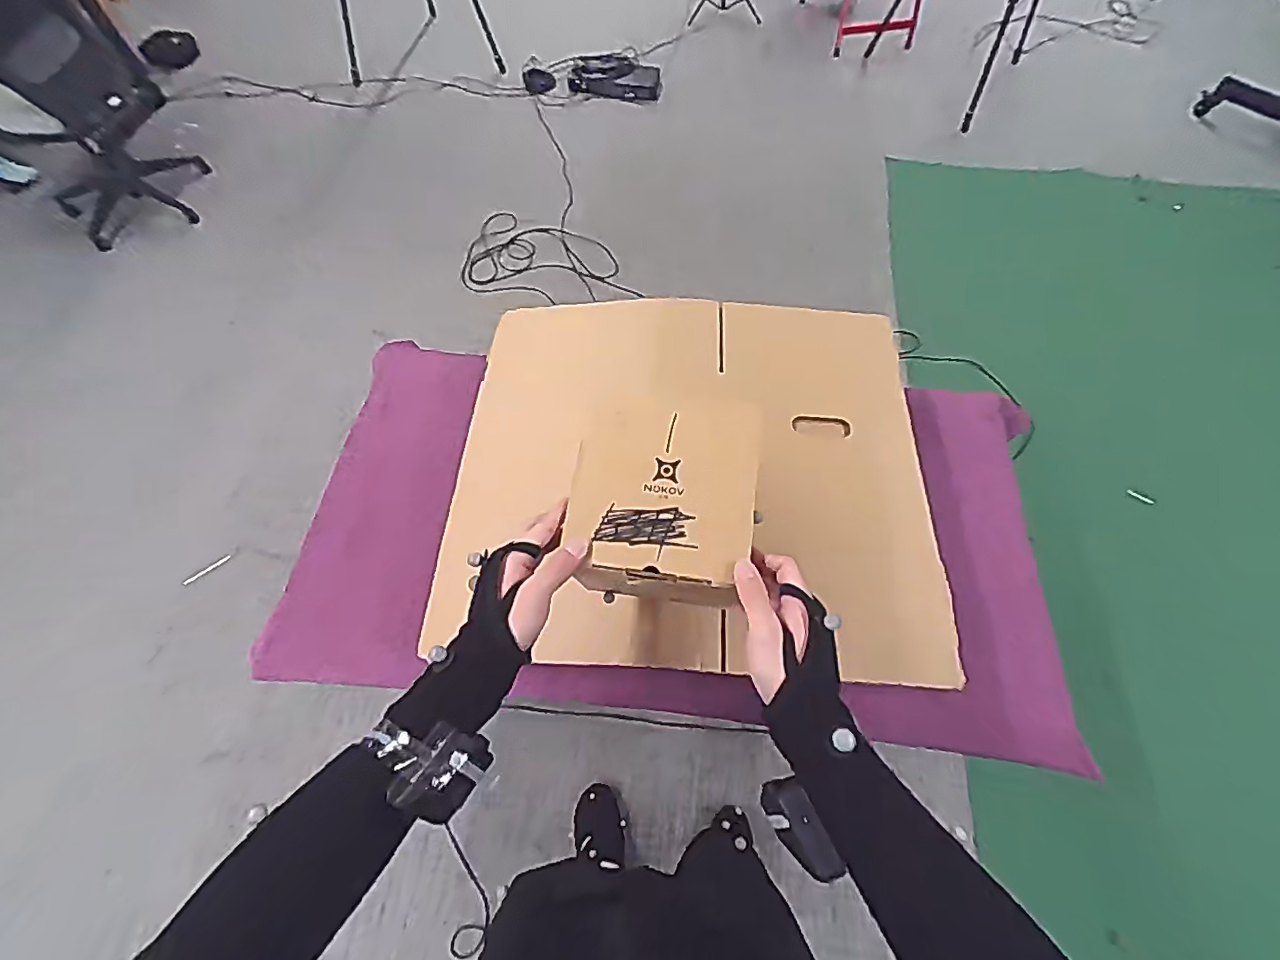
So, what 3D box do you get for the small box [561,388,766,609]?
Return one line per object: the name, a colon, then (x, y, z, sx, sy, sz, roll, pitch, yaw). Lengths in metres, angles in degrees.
small box: (0.029, 0.029, 0.558, 0.168, 0.176, 0.179, 7, 70, 5)
